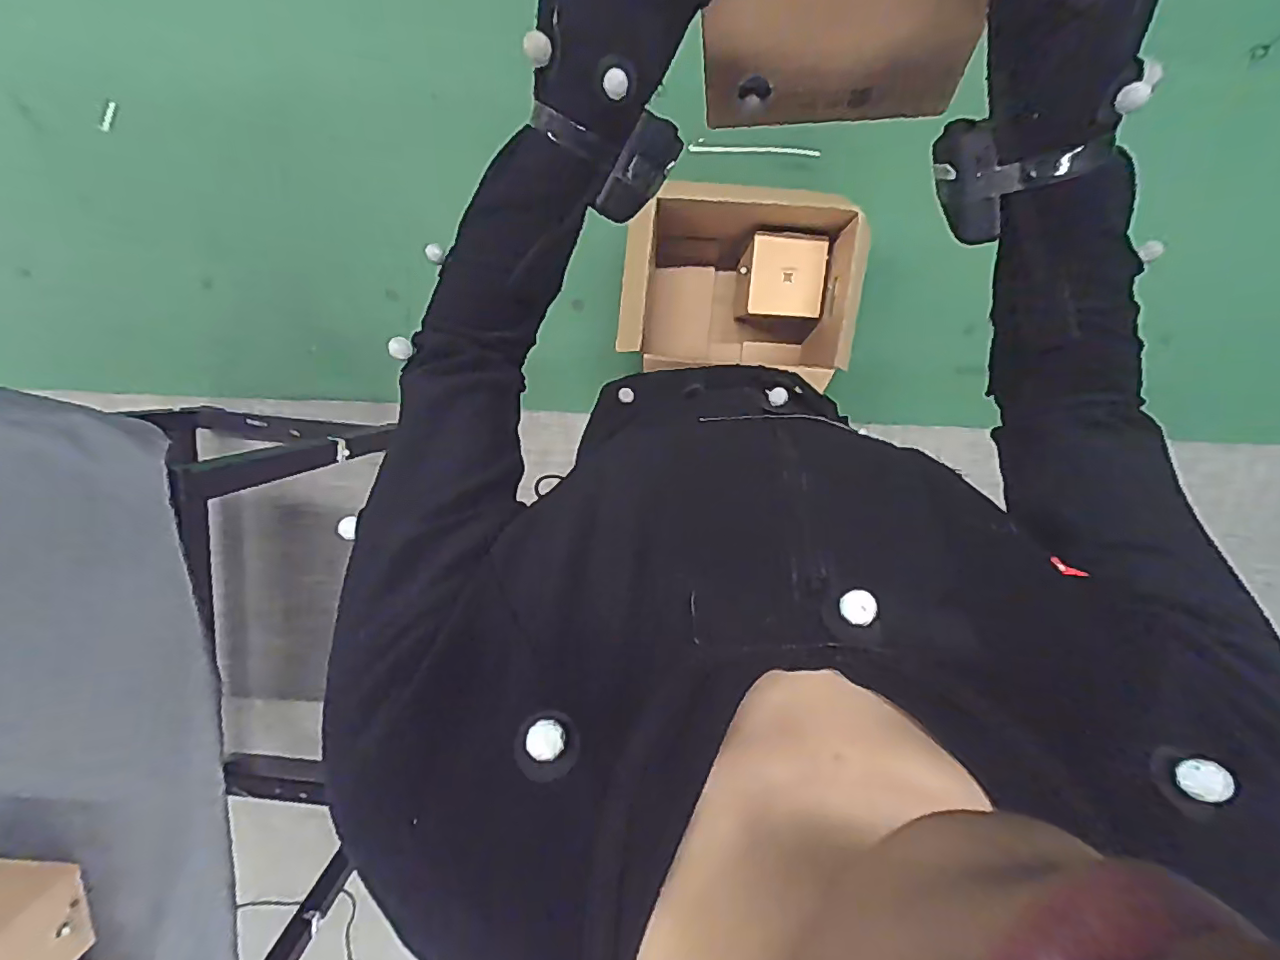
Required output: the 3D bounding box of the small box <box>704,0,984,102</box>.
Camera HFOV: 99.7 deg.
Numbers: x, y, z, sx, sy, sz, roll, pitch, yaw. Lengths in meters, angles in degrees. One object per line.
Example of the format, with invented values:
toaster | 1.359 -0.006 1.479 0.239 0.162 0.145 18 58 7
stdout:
small box | 0.125 -0.360 0.320 0.168 0.176 0.179 3 80 10
